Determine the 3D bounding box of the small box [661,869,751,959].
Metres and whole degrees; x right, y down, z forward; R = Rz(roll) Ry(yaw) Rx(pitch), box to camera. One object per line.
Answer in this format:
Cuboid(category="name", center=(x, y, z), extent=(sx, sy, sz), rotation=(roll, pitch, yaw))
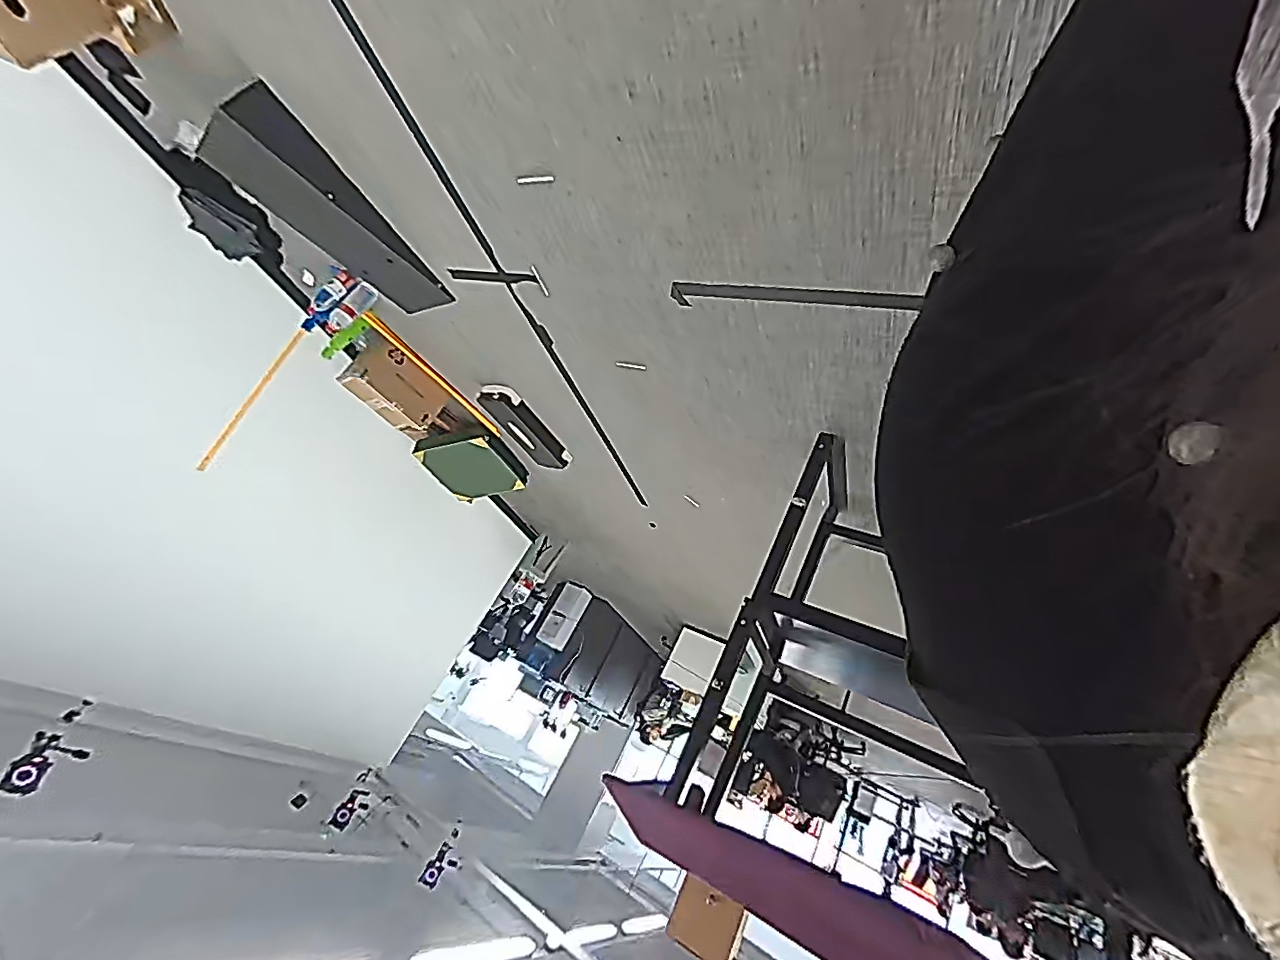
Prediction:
Cuboid(category="small box", center=(0.185, 1.198, 1.476), extent=(0.179, 0.176, 0.168), rotation=(17, 154, 29))
